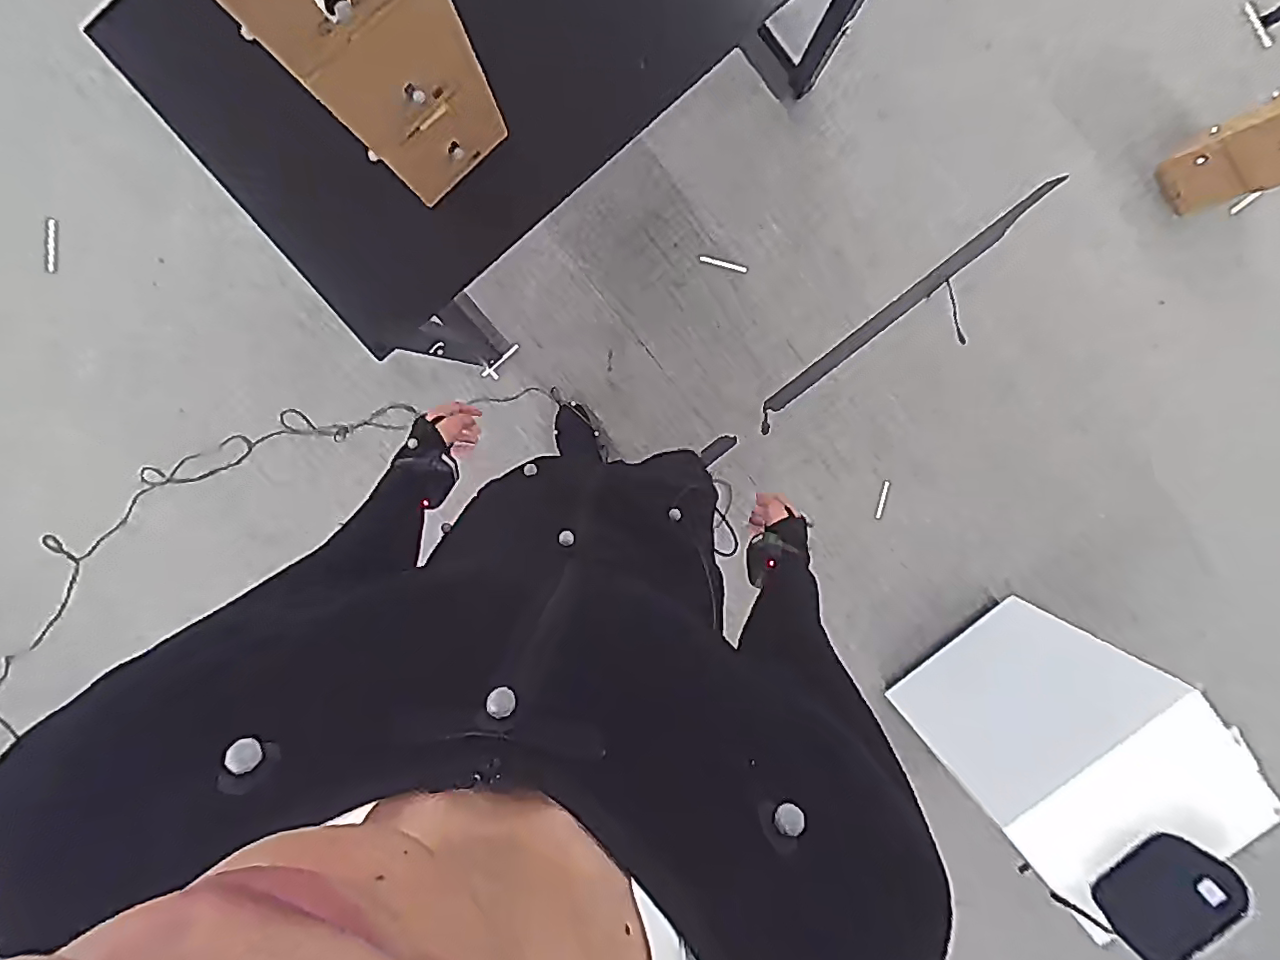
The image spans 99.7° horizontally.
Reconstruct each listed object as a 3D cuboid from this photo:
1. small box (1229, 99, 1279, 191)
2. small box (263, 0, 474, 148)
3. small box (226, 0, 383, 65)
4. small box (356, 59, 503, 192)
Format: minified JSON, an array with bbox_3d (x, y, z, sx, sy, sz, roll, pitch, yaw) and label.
[{"bbox_3d":[1.595,-0.835,1.293,0.168,0.176,0.179,-39,99,4],"label":"small box"},{"bbox_3d":[-0.304,-0.494,0.555,0.168,0.176,0.179,-40,98,5],"label":"small box"},{"bbox_3d":[-0.298,-0.470,0.395,0.168,0.176,0.179,-41,98,6],"label":"small box"},{"bbox_3d":[-0.308,-0.518,0.719,0.168,0.176,0.179,-41,98,4],"label":"small box"}]
